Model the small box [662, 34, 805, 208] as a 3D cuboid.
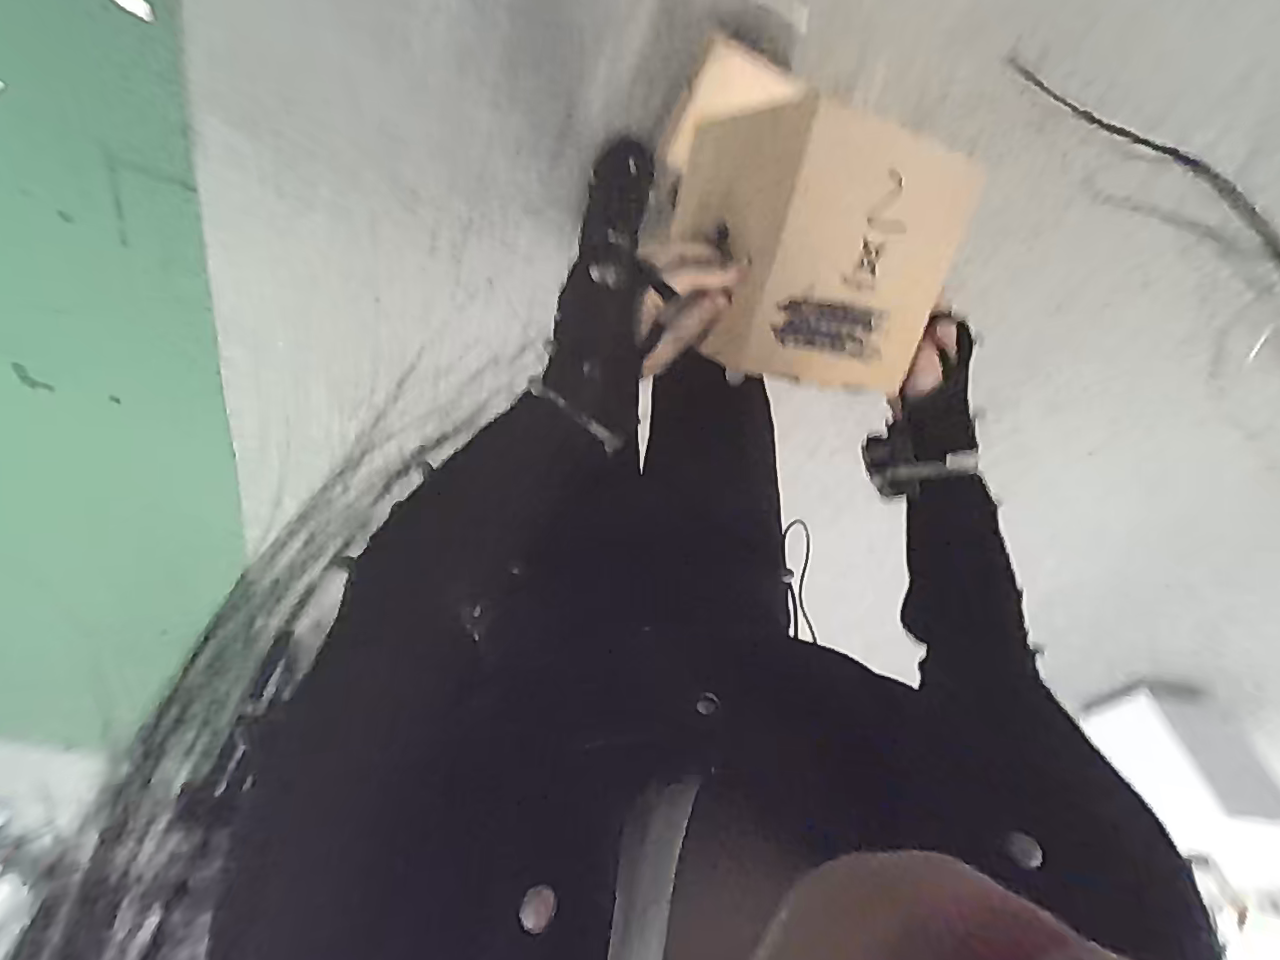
[{"bbox_3d":[0.143,-0.605,0.910,0.168,0.176,0.179,19,133,-18],"label":"small box"}]
